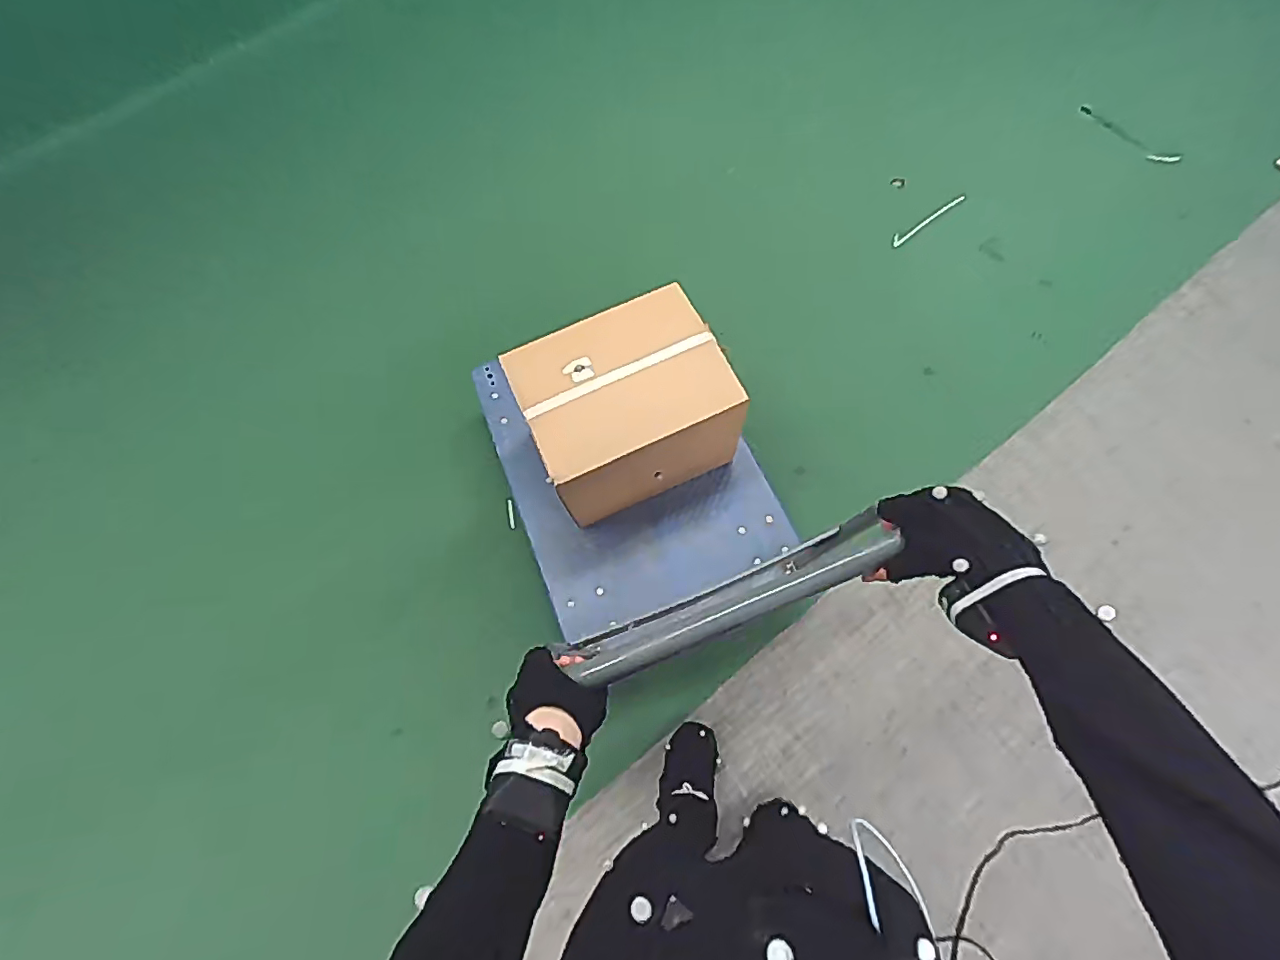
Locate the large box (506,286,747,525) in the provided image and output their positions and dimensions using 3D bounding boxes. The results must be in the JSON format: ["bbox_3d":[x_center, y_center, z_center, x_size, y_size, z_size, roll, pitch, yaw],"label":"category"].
[{"bbox_3d":[-0.023,-0.149,1.213,0.408,0.320,0.320,-26,70,-5],"label":"large box"}]
